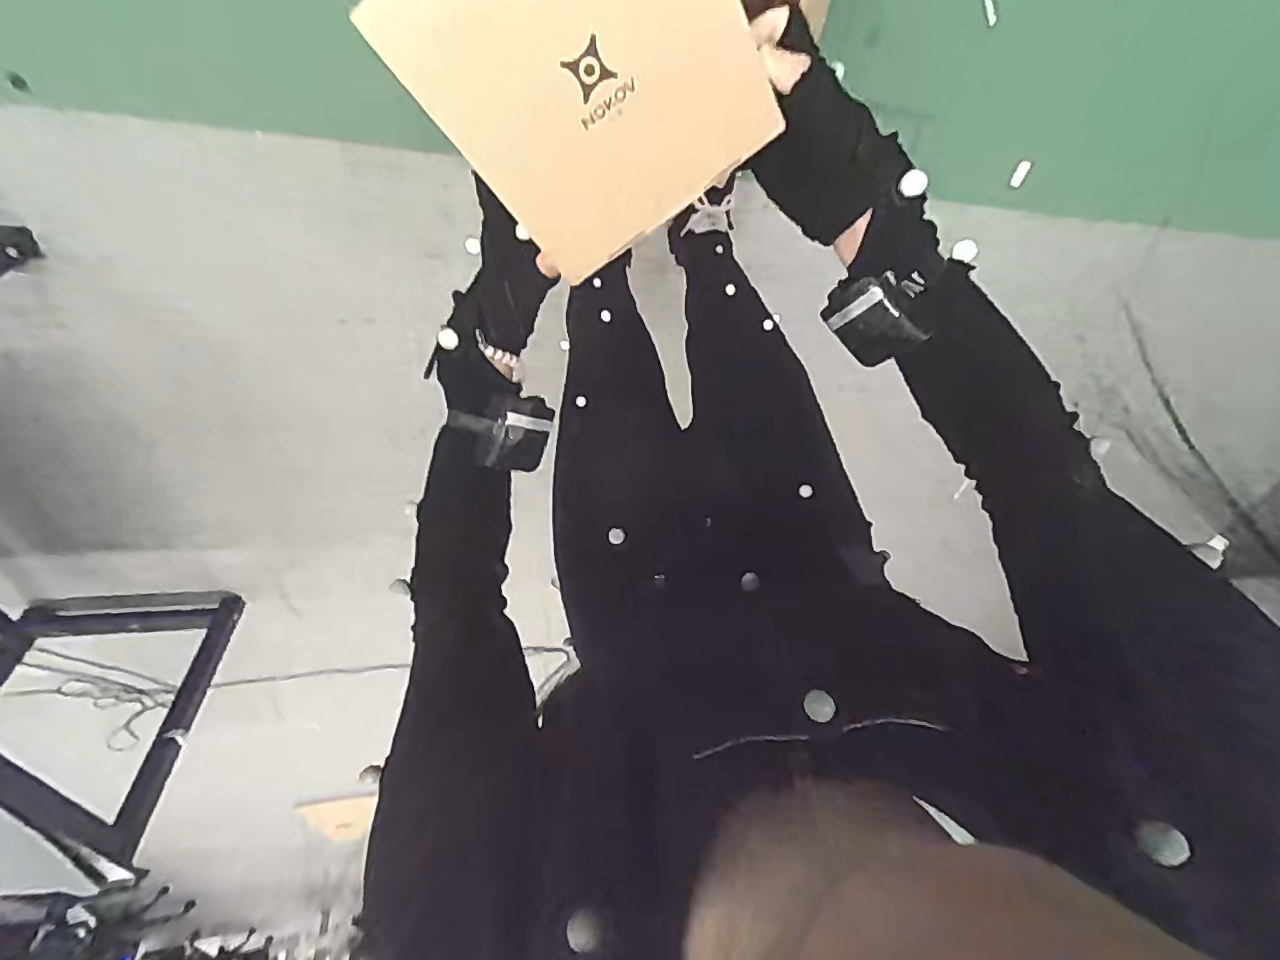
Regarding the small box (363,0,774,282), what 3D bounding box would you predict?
[{"bbox_3d":[-0.043,-0.276,0.352,0.168,0.176,0.179,-31,137,16],"label":"small box"}]
